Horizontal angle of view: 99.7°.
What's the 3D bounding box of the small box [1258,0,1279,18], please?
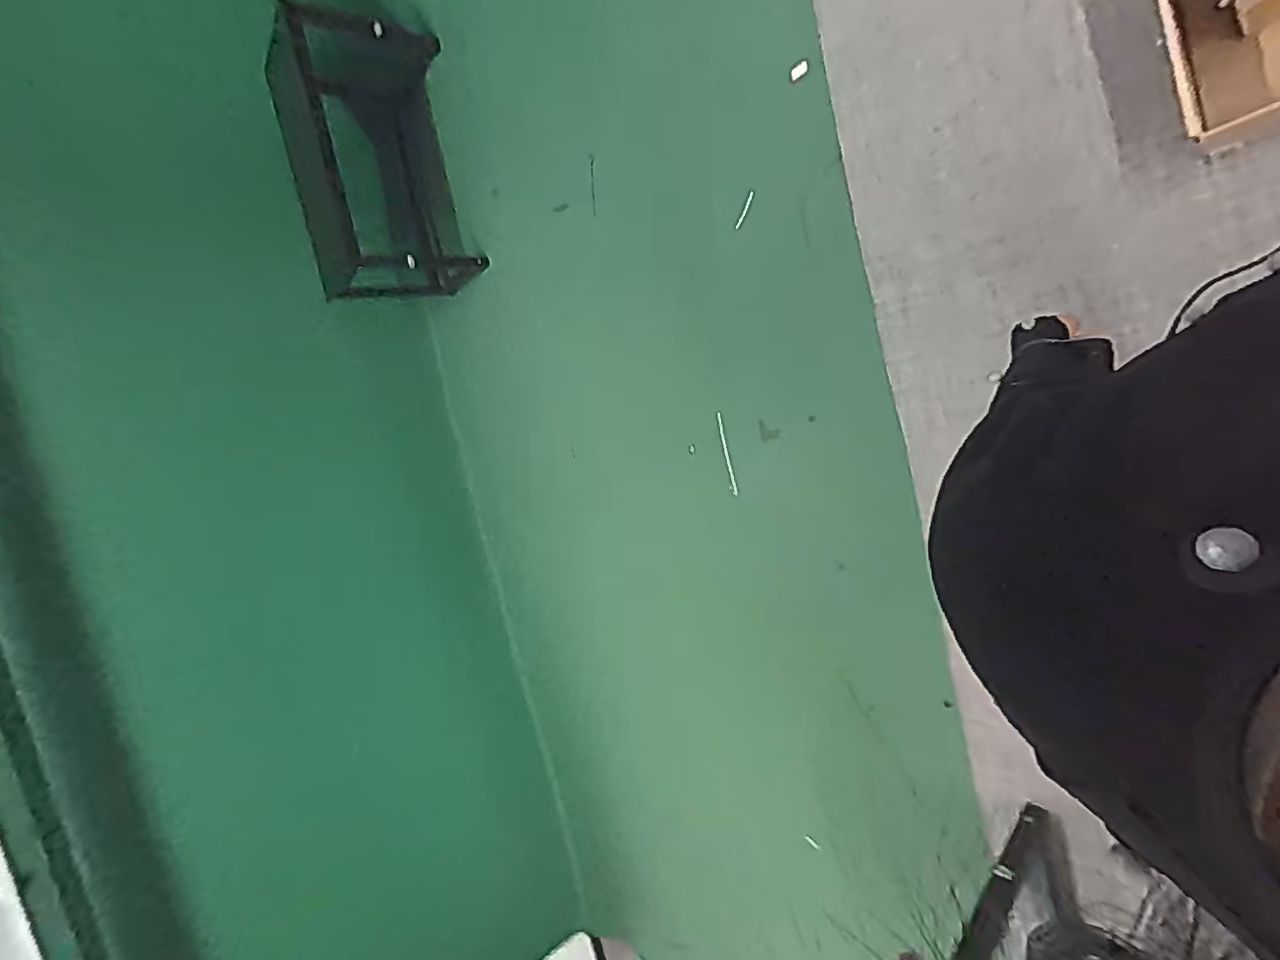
[{"bbox_3d":[0.991,-0.816,0.765,0.179,0.176,0.168,-17,92,51],"label":"small box"}]
